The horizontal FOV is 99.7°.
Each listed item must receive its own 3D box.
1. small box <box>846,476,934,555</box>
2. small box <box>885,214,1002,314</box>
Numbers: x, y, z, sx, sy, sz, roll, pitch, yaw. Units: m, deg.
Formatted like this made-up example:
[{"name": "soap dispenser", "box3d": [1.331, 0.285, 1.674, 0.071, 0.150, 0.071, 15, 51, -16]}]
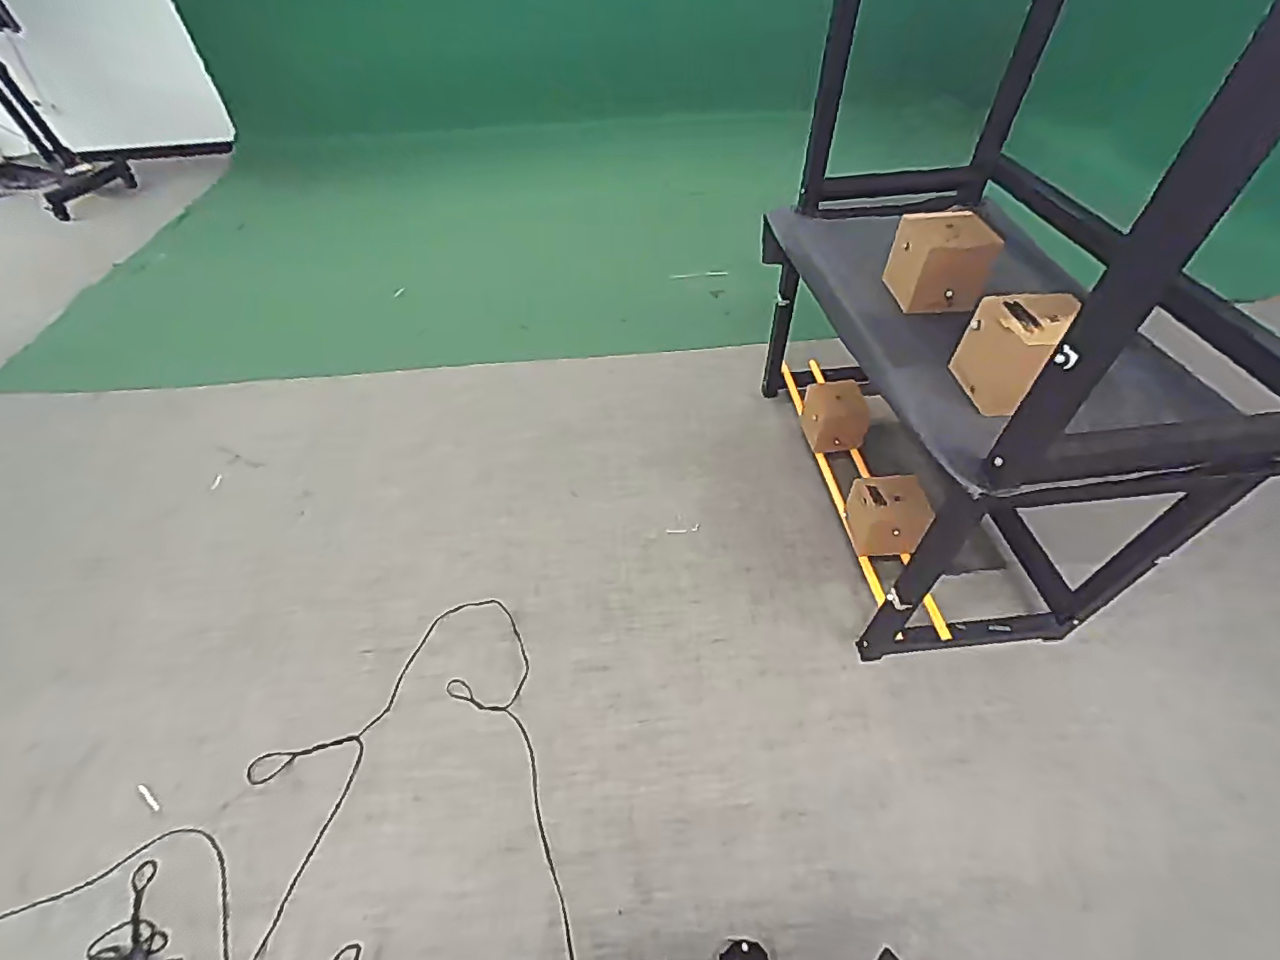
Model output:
[{"name": "small box", "box3d": [0.719, 0.108, 1.585, 0.179, 0.176, 0.168, -3, 49, 1]}, {"name": "small box", "box3d": [0.719, -0.521, 1.308, 0.168, 0.176, 0.179, -3, 49, 0]}]
